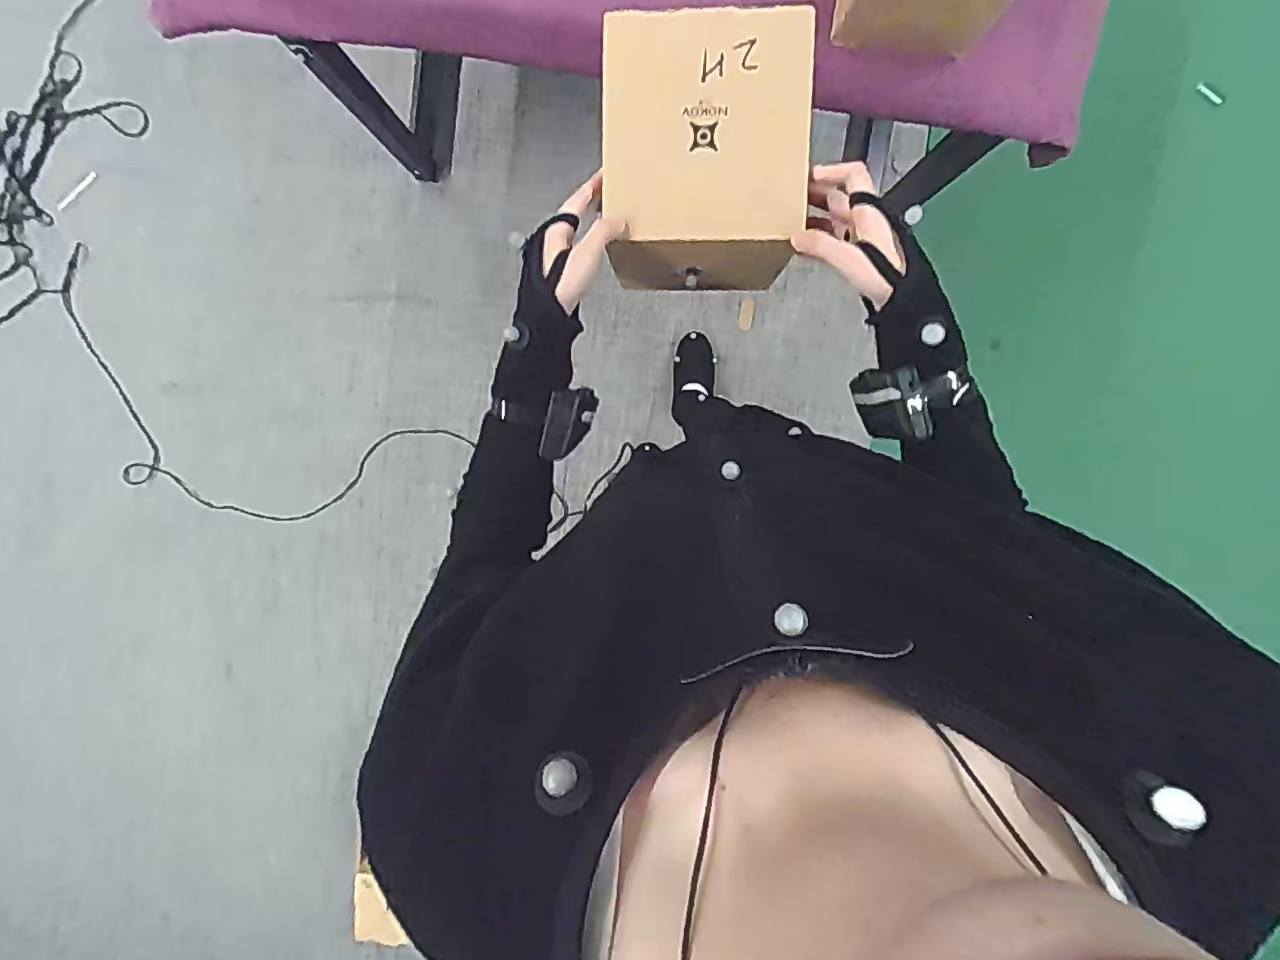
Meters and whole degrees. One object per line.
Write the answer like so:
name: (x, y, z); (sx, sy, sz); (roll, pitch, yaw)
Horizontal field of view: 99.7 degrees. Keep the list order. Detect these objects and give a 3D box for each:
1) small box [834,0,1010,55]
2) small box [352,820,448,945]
small box: (0.345, -0.629, 0.617); (0.179, 0.176, 0.168); (7, 97, 1)
small box: (-0.584, 0.985, 1.333); (0.168, 0.176, 0.179); (5, 96, 0)
